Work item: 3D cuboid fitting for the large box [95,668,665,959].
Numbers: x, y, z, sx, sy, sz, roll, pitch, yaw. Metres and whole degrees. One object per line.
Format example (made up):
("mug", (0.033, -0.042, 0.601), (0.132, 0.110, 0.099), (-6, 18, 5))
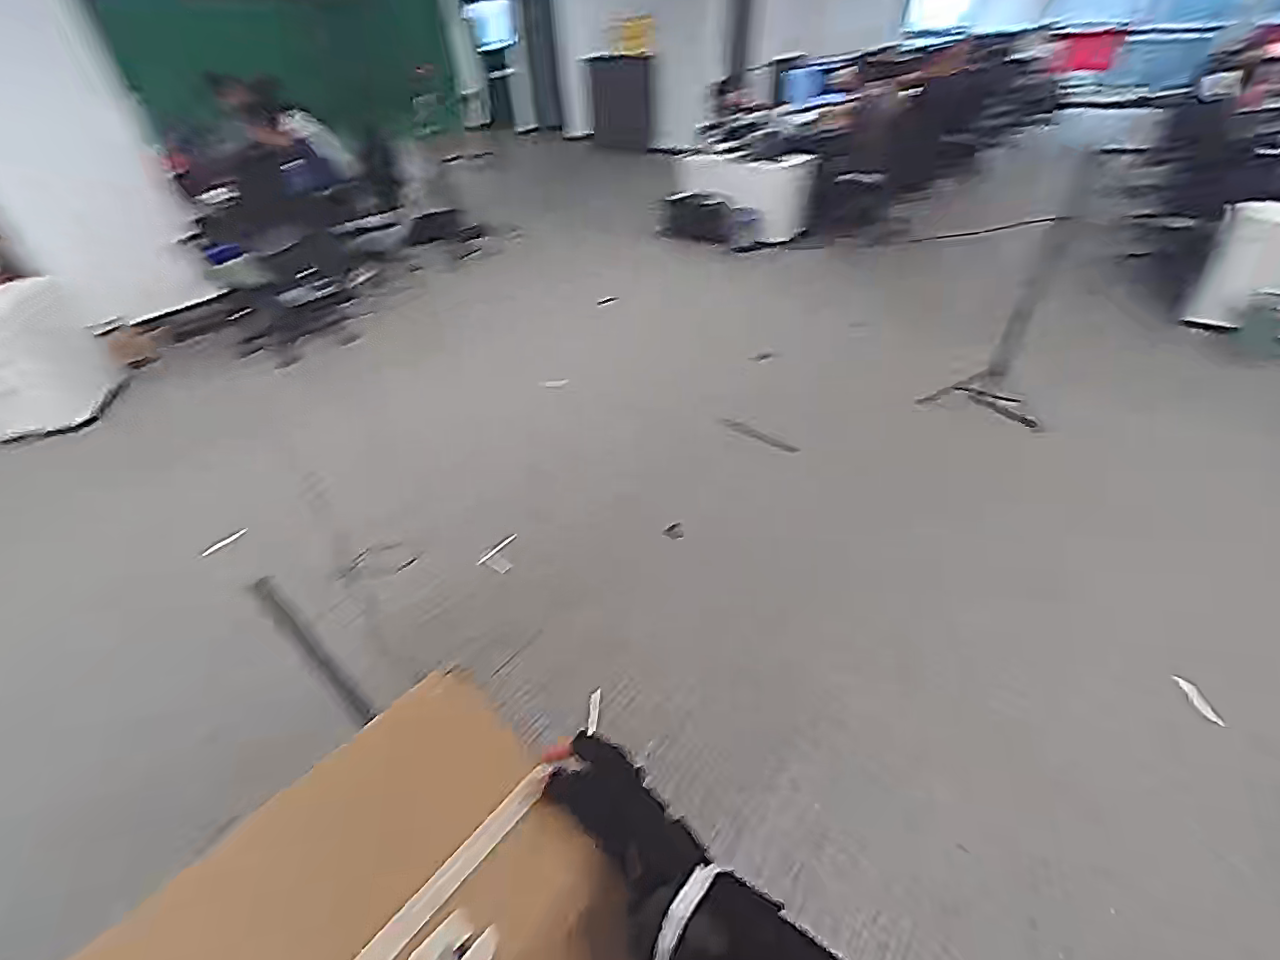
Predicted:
("large box", (-0.232, 0.485, 0.524), (0.320, 0.320, 0.408), (37, 52, 23))
